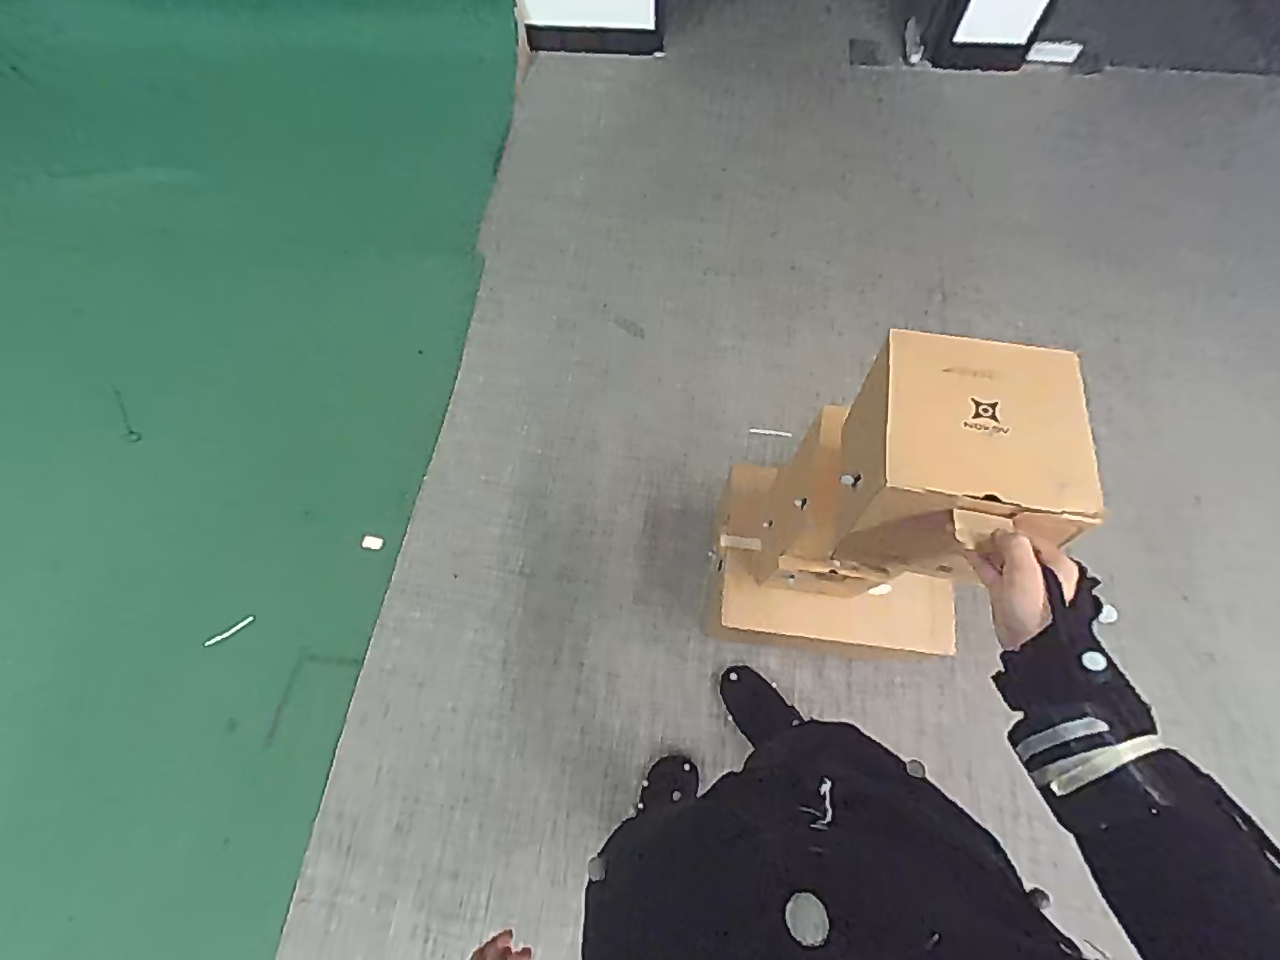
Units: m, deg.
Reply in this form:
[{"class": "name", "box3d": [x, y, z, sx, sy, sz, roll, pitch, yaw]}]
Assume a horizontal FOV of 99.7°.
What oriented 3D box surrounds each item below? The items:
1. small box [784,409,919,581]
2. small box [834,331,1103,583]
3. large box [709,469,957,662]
[{"class": "small box", "box3d": [0.307, 0.028, 0.752, 0.168, 0.176, 0.179, 11, 70, 6]}, {"class": "small box", "box3d": [0.297, -0.015, 0.532, 0.168, 0.176, 0.179, 11, 62, 8]}, {"class": "large box", "box3d": [0.364, 0.191, 1.124, 0.408, 0.320, 0.320, 6, 71, 4]}]
